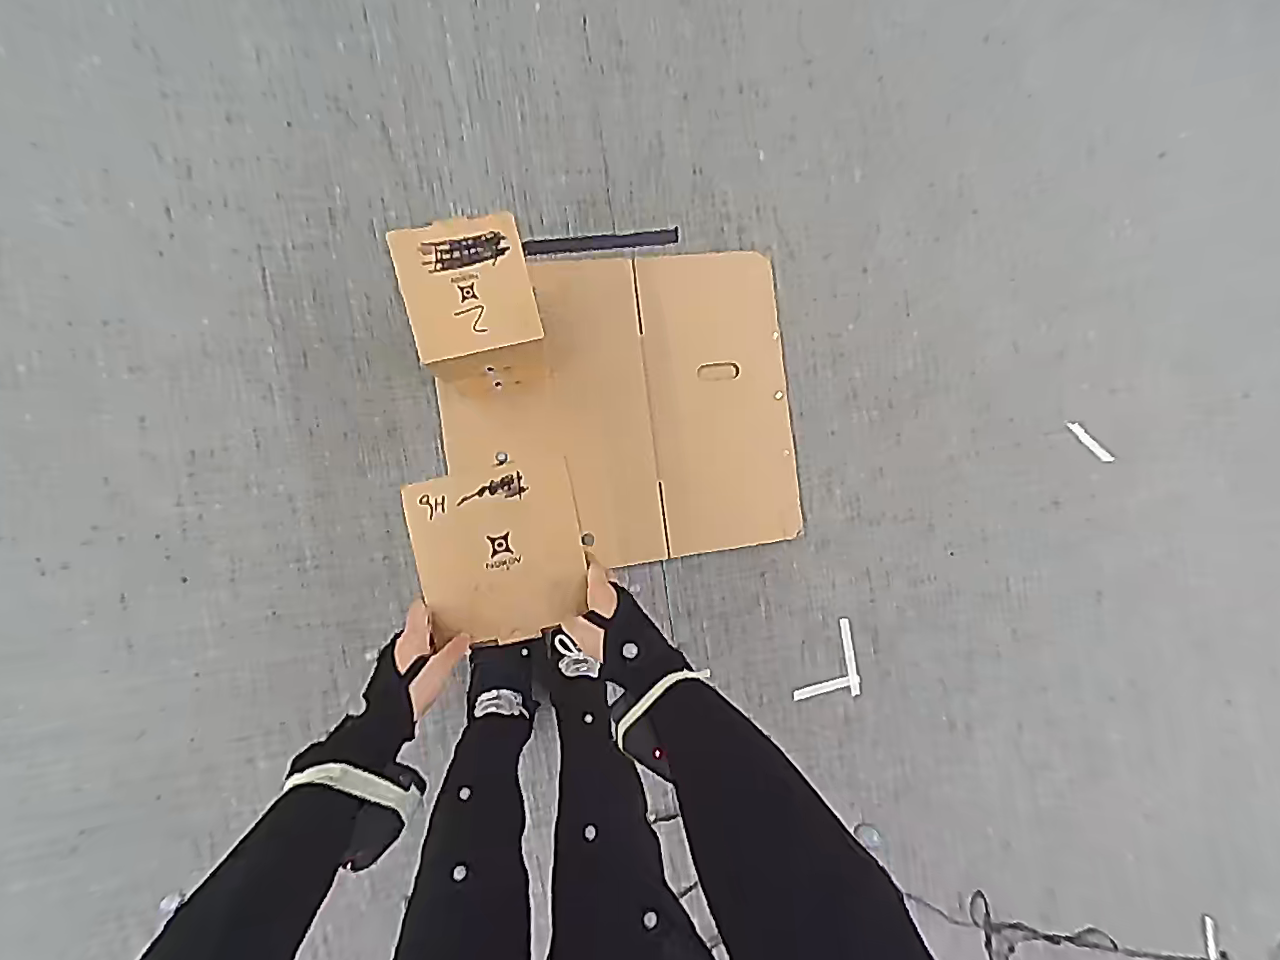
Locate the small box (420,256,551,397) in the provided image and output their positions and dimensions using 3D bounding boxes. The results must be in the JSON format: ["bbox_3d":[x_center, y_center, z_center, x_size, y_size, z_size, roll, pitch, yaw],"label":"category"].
[{"bbox_3d":[-0.261,-0.259,0.944,0.168,0.176,0.179,-18,94,-9],"label":"small box"}]

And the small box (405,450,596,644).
[{"bbox_3d":[-0.148,0.063,0.626,0.168,0.176,0.179,-12,94,-8],"label":"small box"}]
